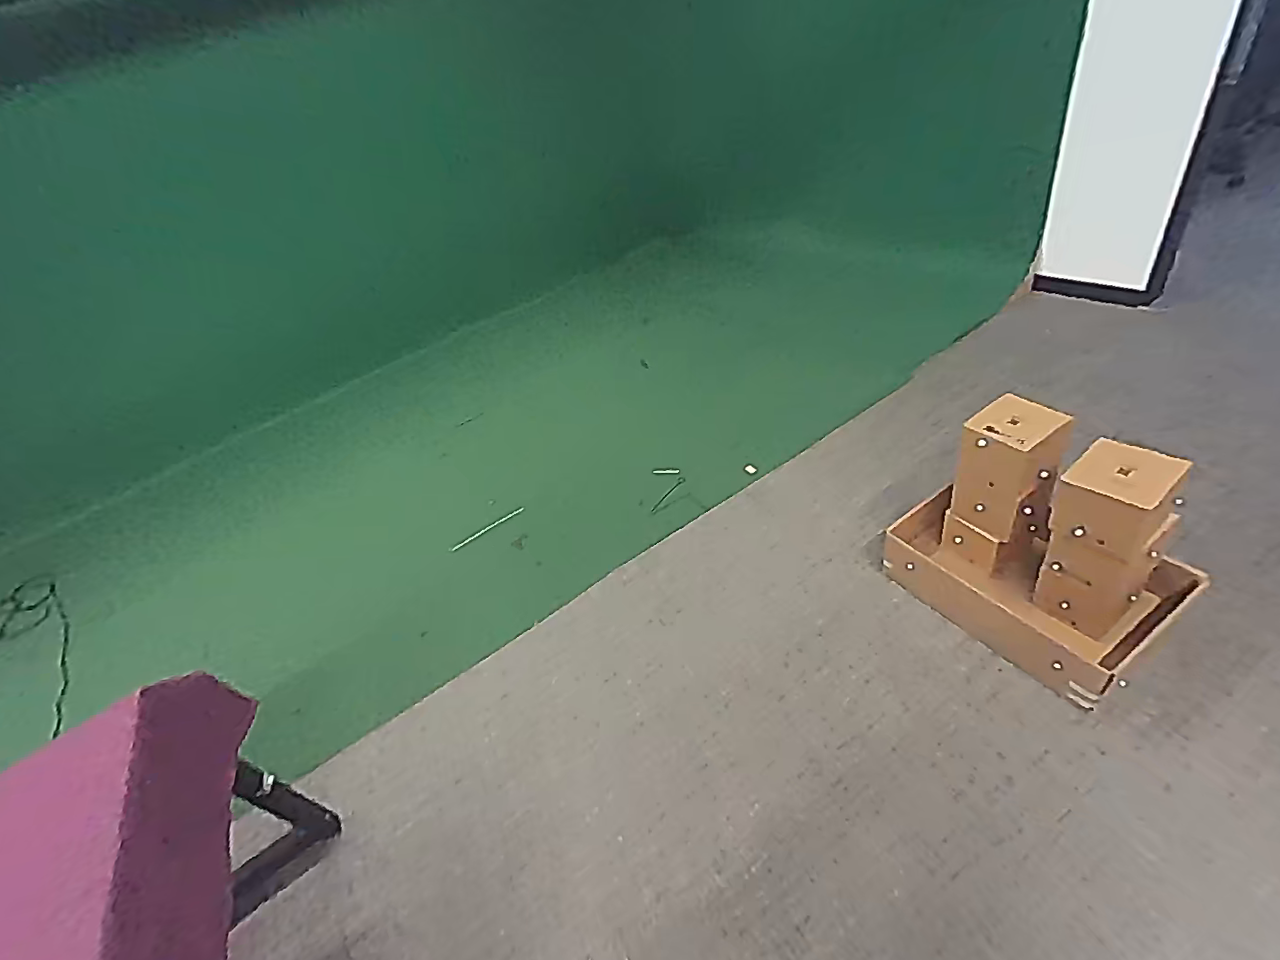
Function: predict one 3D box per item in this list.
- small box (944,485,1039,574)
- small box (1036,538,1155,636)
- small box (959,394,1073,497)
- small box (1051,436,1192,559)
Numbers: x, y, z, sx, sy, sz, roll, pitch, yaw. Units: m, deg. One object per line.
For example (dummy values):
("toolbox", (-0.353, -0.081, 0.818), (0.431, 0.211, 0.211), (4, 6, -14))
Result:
("small box", (1.035, 0.146, 1.608), (0.179, 0.176, 0.168), (-29, 41, -12))
("small box", (1.171, 0.269, 1.405), (0.179, 0.176, 0.168), (-33, 40, -14))
("small box", (0.955, -0.089, 1.392), (0.179, 0.176, 0.168), (-30, 40, -13))
("small box", (1.056, 0.038, 1.202), (0.179, 0.176, 0.168), (-36, 40, -16))
